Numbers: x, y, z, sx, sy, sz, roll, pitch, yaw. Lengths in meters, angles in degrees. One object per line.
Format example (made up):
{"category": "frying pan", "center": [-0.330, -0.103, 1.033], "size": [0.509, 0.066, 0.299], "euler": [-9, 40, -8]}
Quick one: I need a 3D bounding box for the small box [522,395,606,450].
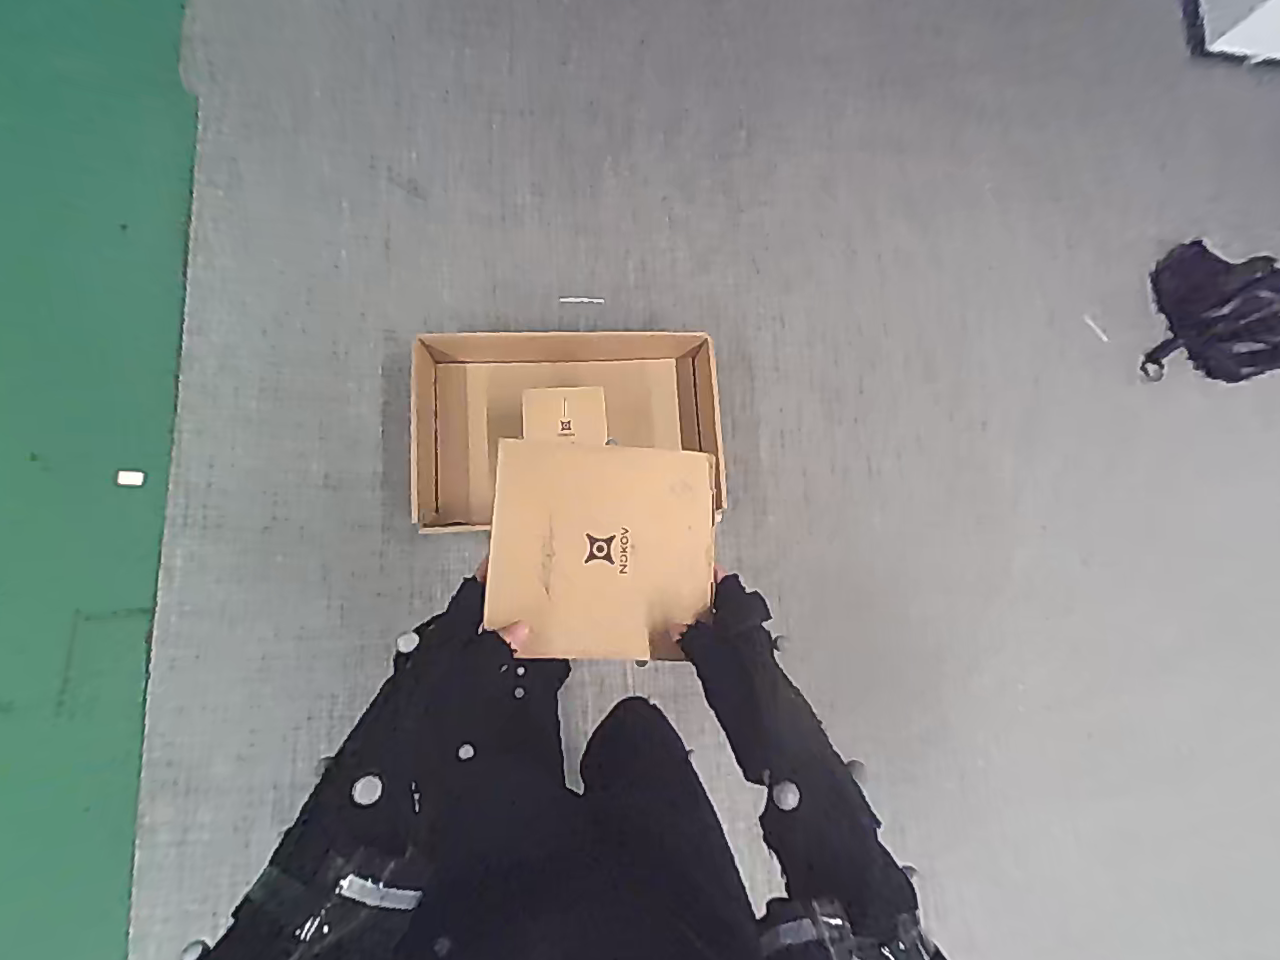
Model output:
{"category": "small box", "center": [-0.157, -0.072, 1.144], "size": [0.168, 0.176, 0.179], "euler": [-3, 81, -8]}

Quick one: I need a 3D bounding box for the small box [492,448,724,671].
{"category": "small box", "center": [-0.036, 0.069, 0.489], "size": [0.179, 0.176, 0.168], "euler": [-1, 80, -9]}
